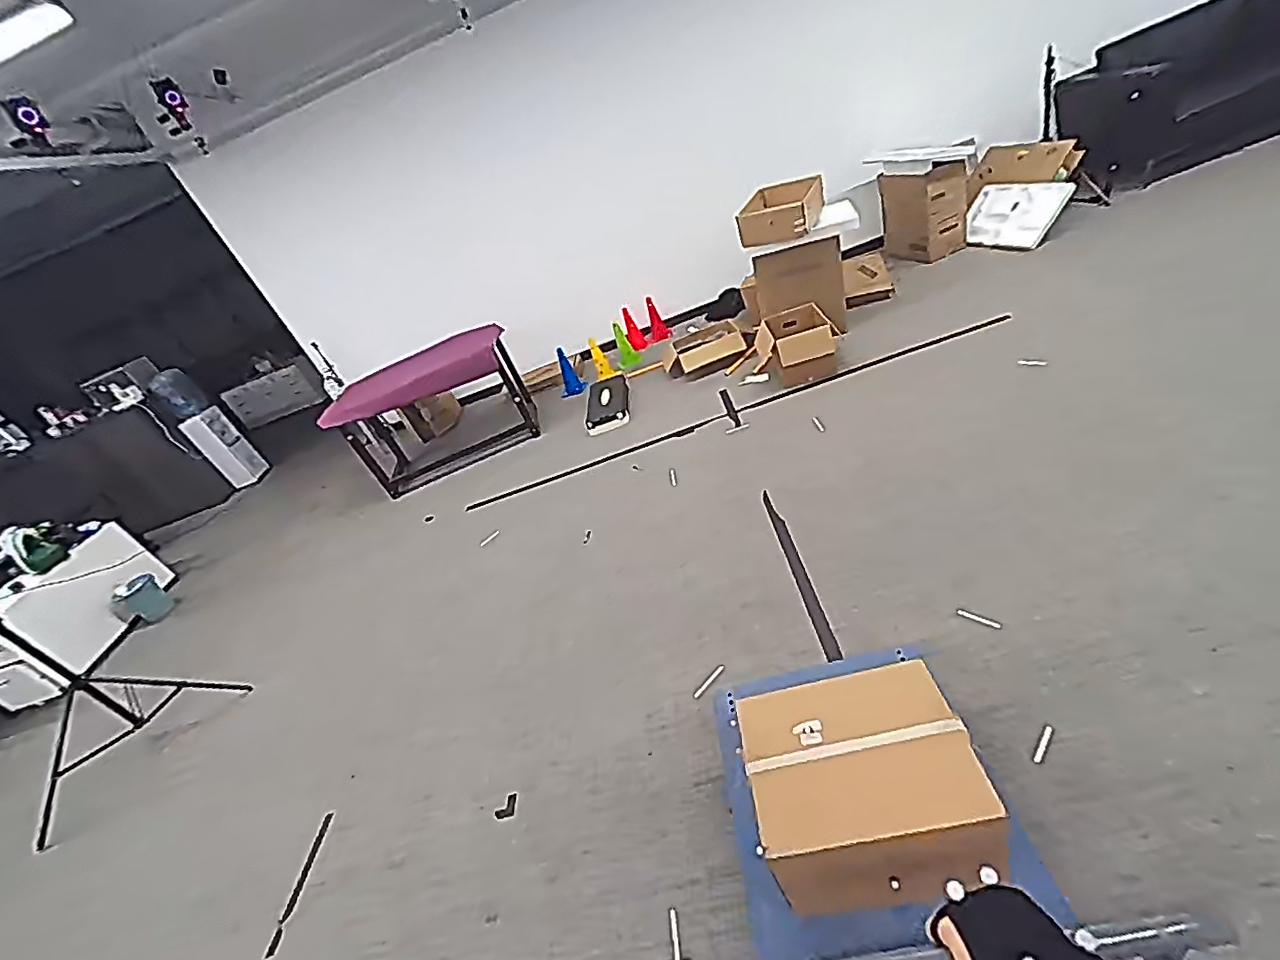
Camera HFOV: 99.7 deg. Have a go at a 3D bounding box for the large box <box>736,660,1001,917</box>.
[{"bbox_3d":[0.457,0.641,1.124,0.408,0.320,0.320,-19,31,10],"label":"large box"}]
